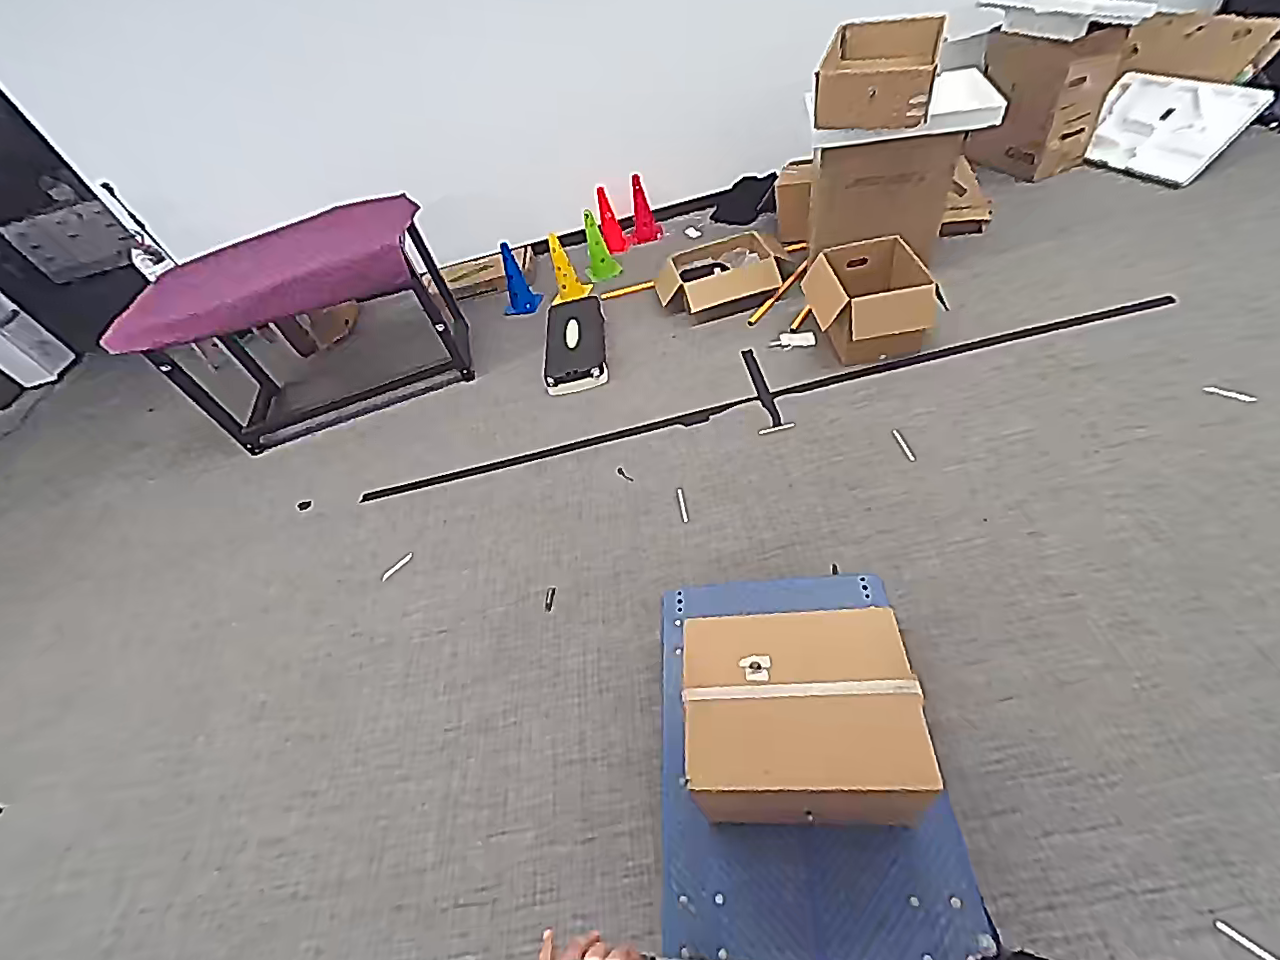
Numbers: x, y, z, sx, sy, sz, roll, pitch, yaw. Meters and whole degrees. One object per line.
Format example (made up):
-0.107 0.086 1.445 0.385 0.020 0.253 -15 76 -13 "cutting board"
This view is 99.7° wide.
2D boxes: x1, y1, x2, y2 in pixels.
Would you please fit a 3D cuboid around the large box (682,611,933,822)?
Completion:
0.313 0.491 1.097 0.408 0.320 0.320 -7 47 11 "large box"
